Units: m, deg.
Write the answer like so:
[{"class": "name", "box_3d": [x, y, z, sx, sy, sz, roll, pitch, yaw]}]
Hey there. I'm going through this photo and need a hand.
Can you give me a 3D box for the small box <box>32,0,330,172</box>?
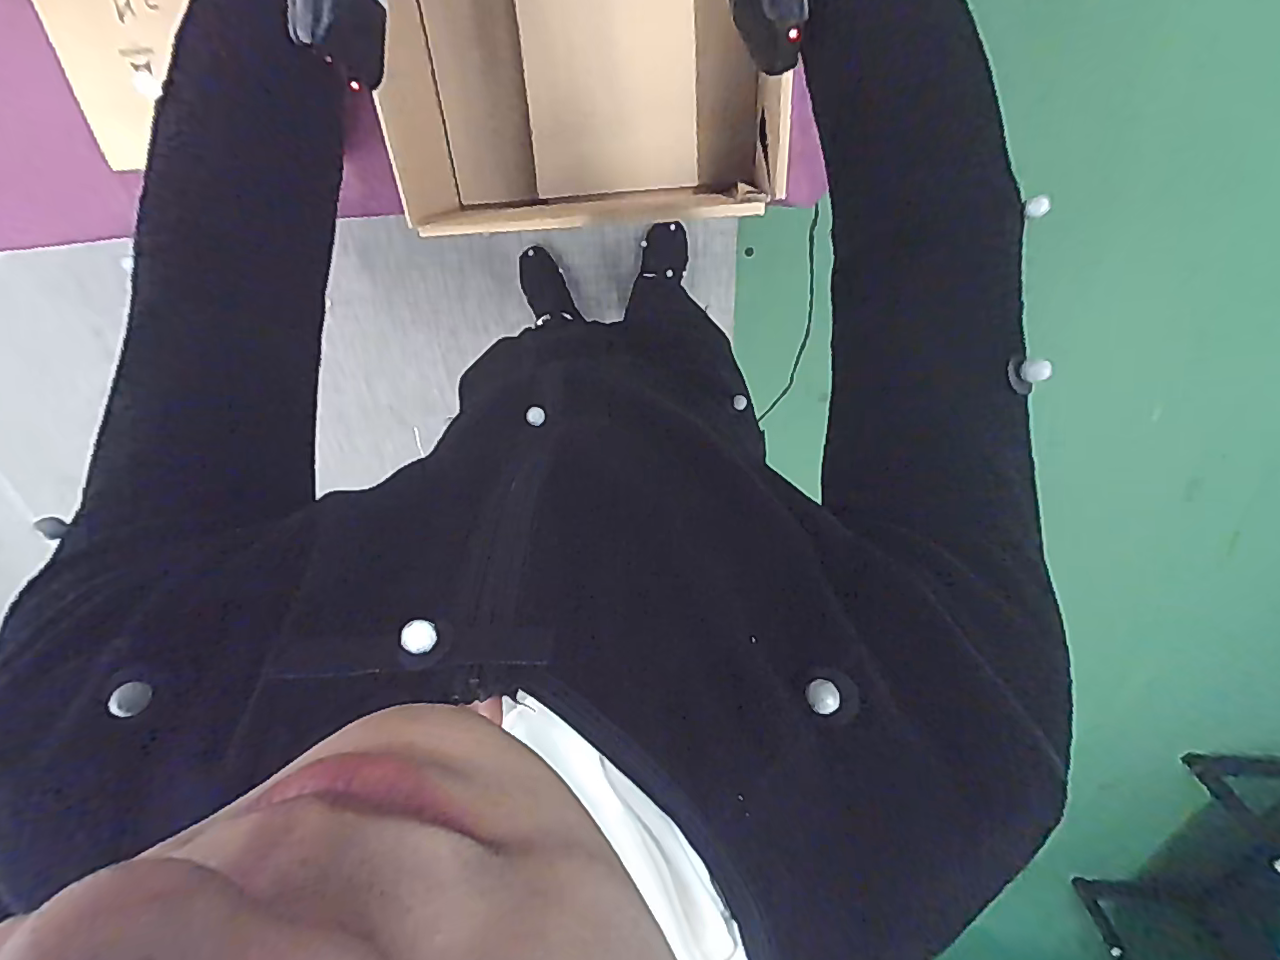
[{"class": "small box", "box_3d": [-0.483, -0.446, 0.598, 0.168, 0.176, 0.179, -1, 120, 3]}]
